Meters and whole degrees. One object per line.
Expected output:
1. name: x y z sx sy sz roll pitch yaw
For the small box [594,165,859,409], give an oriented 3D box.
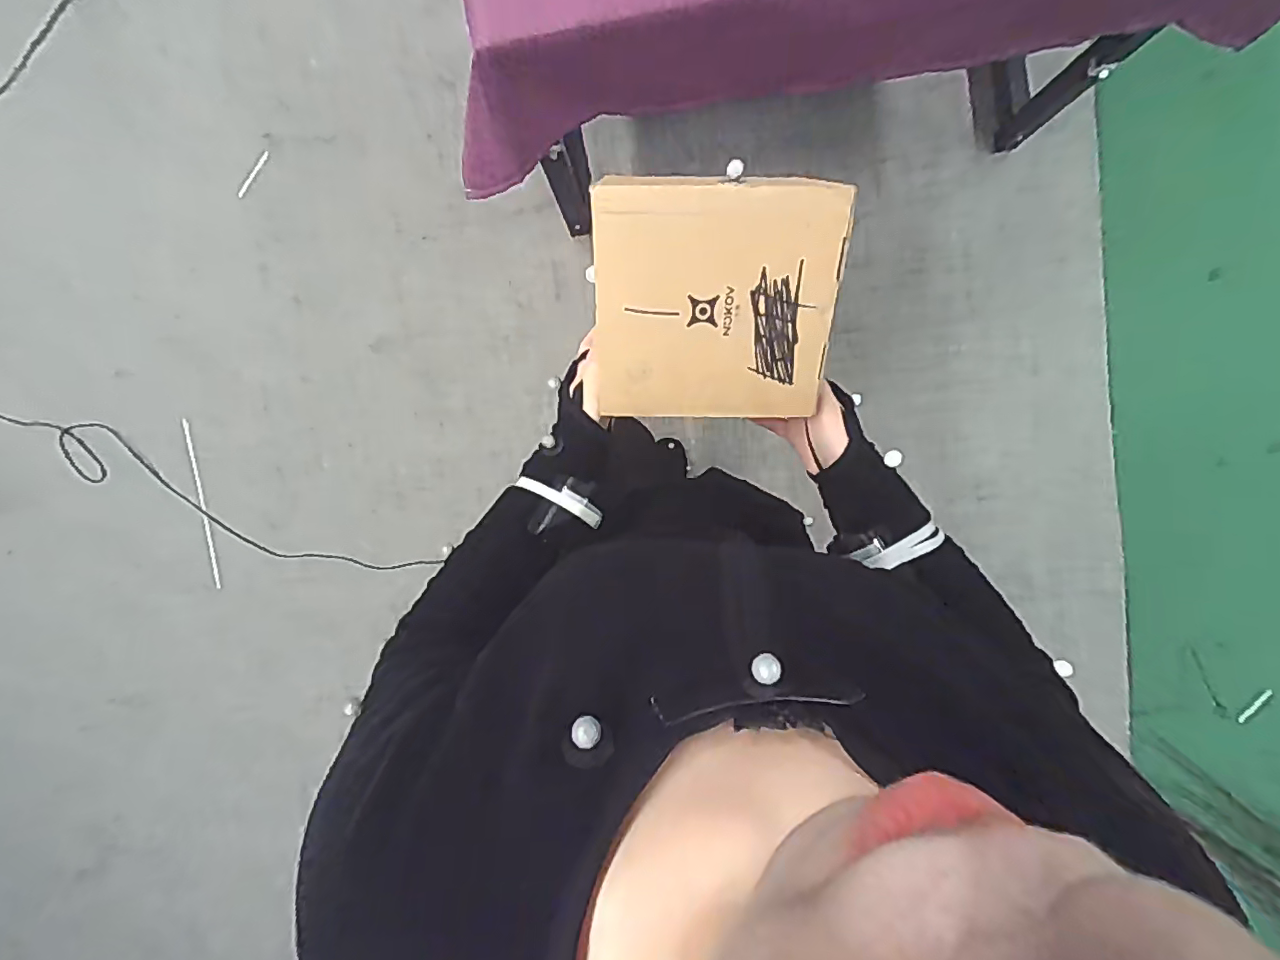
1. small box: 0.056 -0.170 0.459 0.179 0.176 0.168 1 121 1
